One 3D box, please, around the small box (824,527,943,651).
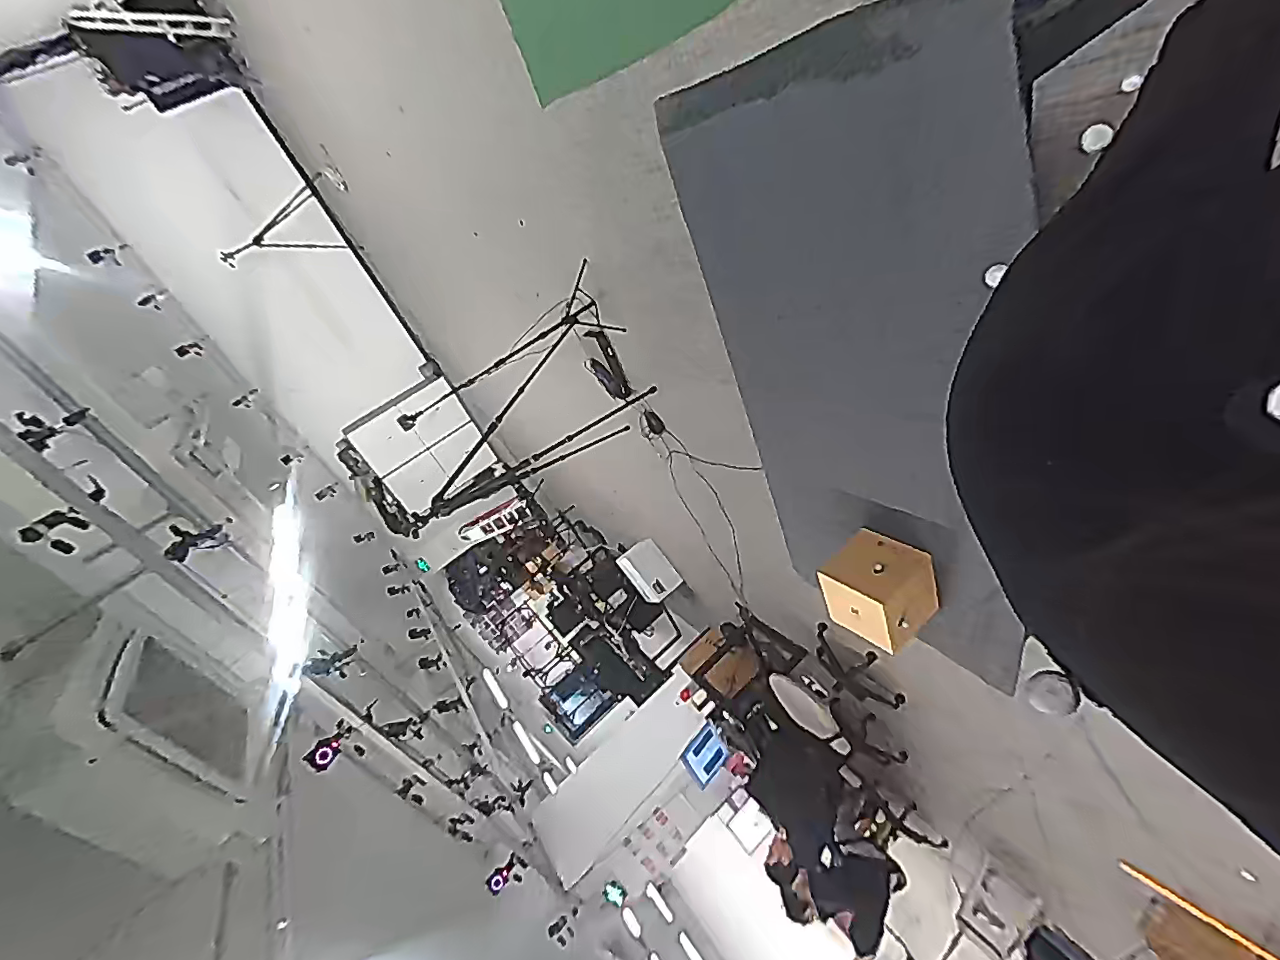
[{"bbox_3d":[0.543,0.234,1.202,0.168,0.176,0.179,27,150,53],"label":"small box"}]
